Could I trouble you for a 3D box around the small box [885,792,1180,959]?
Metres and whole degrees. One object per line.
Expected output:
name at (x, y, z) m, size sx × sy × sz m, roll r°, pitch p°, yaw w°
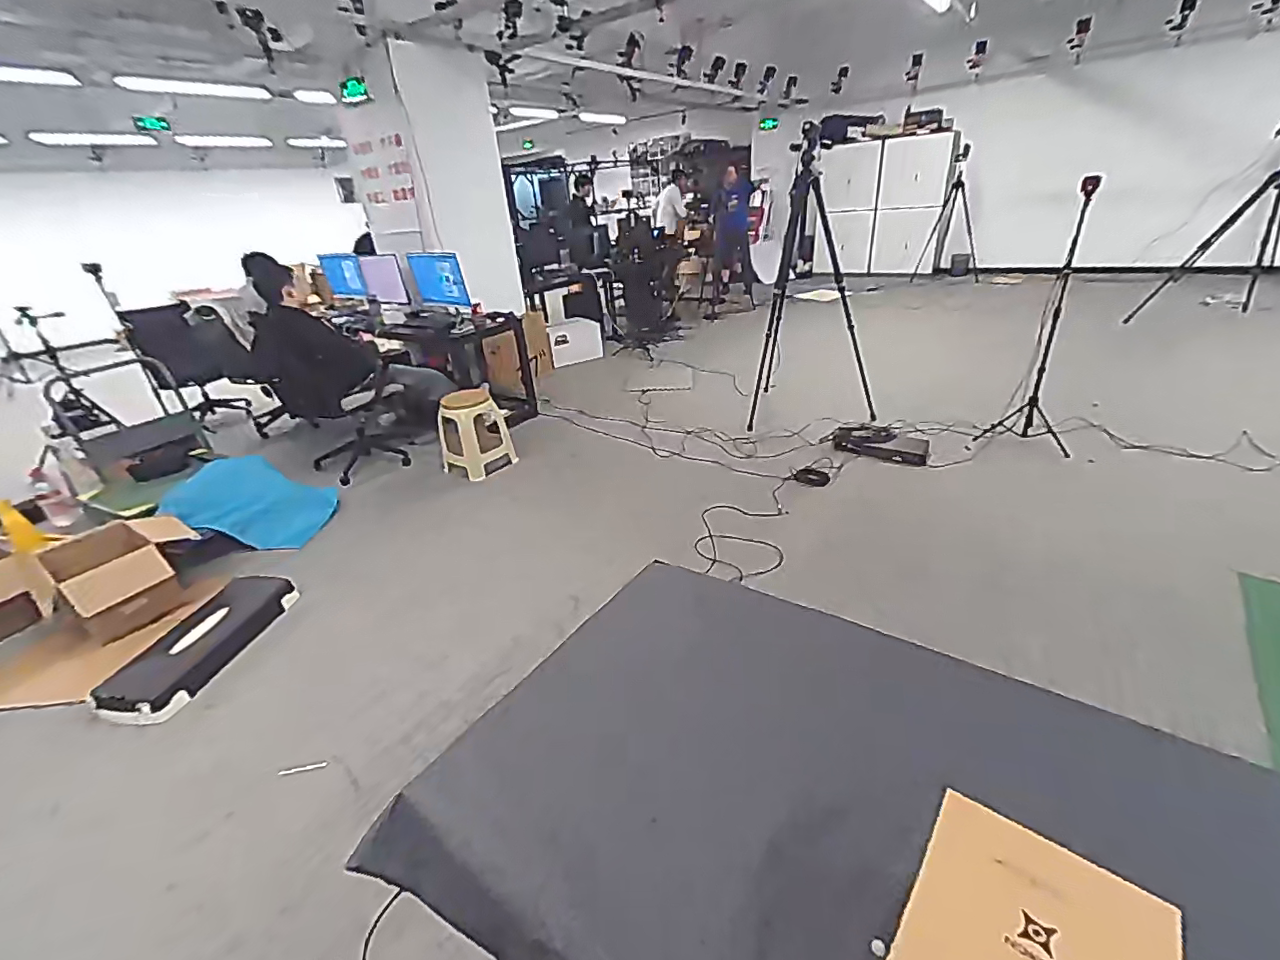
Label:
small box at (0.301, 0.417, 0.442) m, size 0.168 × 0.176 × 0.179 m, roll 18°, pitch 34°, yaw 36°
